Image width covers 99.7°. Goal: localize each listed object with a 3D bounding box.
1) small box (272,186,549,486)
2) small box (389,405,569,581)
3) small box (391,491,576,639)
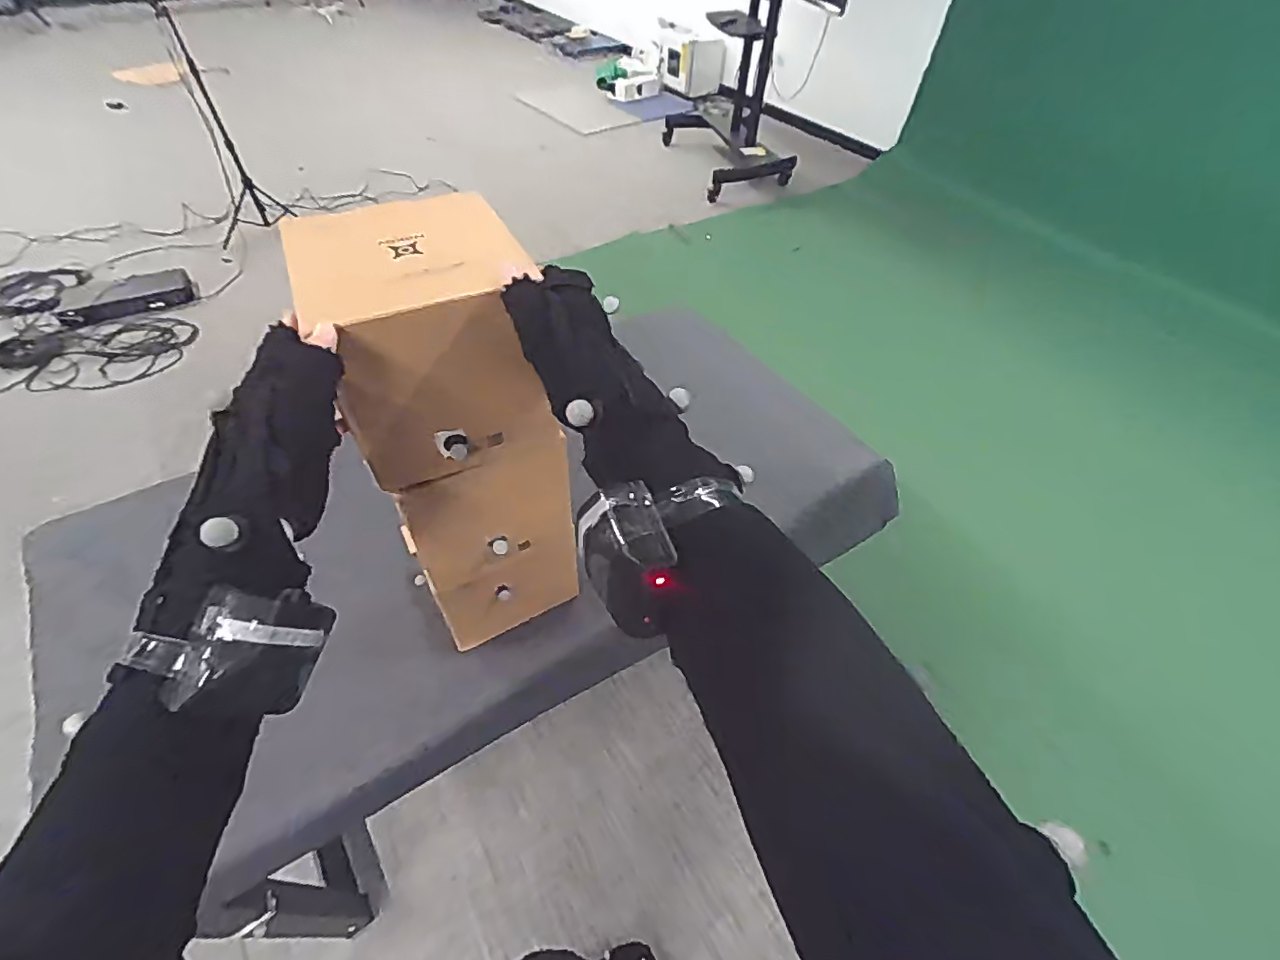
[{"bbox_3d":[-0.189,-0.126,0.471,0.168,0.176,0.179,-20,53,-17],"label":"small box"},{"bbox_3d":[-0.192,-0.023,0.598,0.168,0.176,0.179,-26,54,-23],"label":"small box"},{"bbox_3d":[-0.200,0.082,0.724,0.179,0.176,0.168,-24,55,-20],"label":"small box"}]
